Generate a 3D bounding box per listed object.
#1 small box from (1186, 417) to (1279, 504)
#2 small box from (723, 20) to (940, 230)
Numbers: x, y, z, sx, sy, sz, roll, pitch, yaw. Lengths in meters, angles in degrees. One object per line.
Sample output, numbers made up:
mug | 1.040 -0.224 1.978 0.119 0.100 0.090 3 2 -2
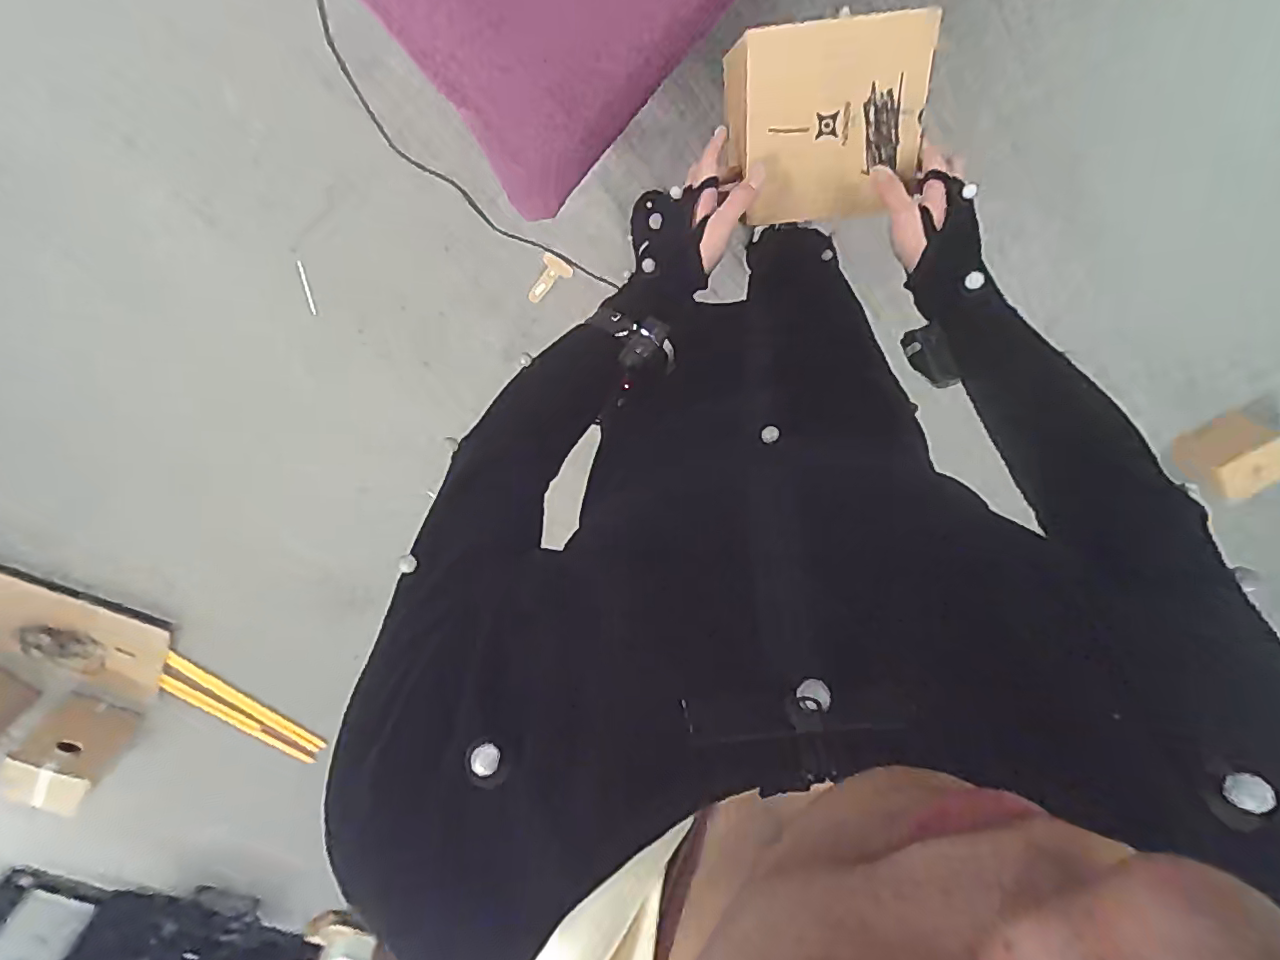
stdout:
small box | 1.819 -0.067 1.631 0.168 0.176 0.179 -38 116 23
small box | 0.189 -0.377 0.593 0.179 0.176 0.168 -2 119 4
